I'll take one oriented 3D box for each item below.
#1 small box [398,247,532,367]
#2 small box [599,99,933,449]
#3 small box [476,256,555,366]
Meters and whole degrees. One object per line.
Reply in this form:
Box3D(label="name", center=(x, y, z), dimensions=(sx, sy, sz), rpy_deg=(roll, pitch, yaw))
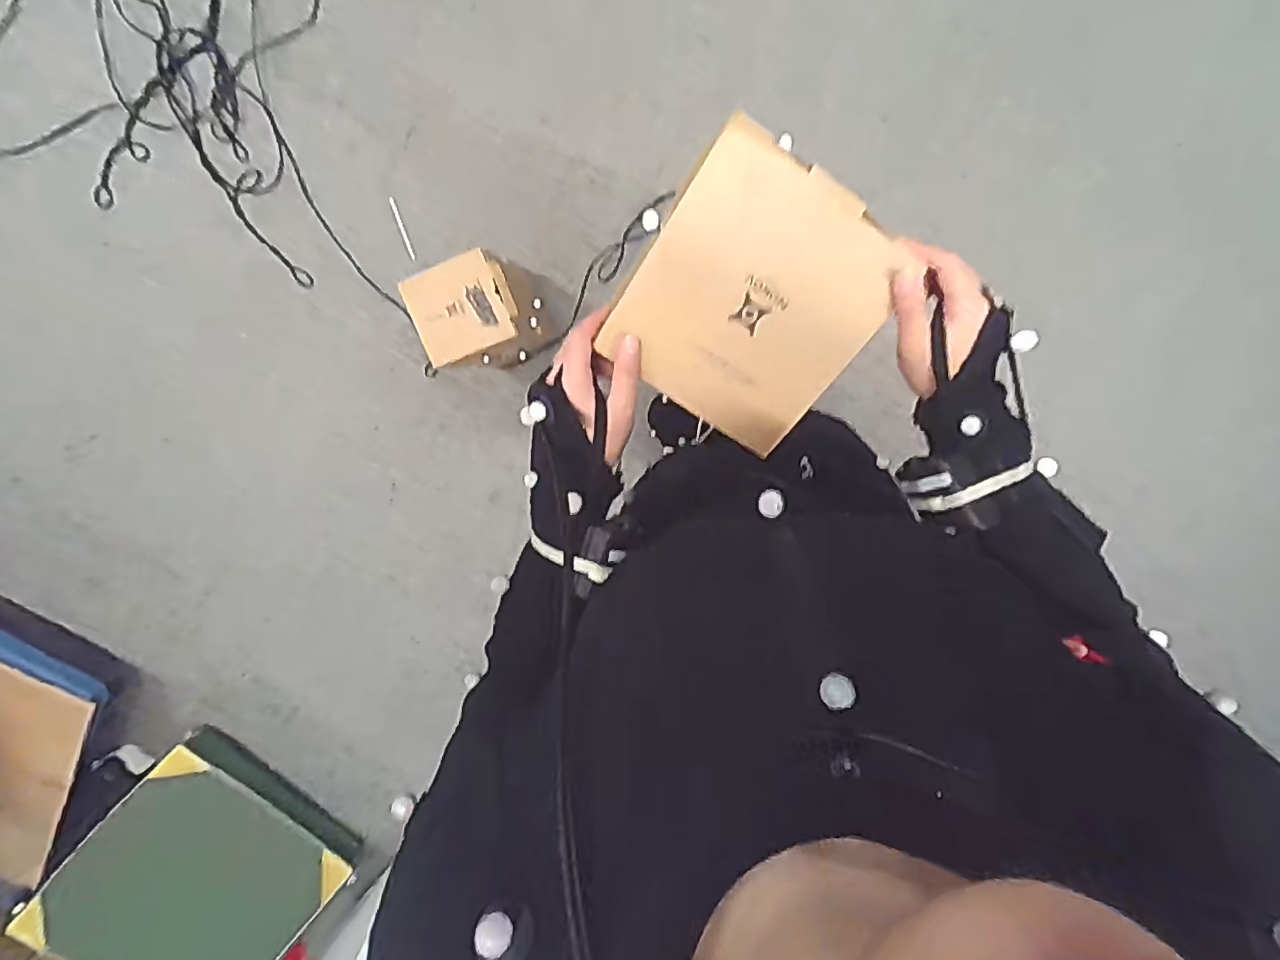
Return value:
Box3D(label="small box", center=(-0.326, -0.330, 1.055), dimensions=(0.179, 0.176, 0.168), rpy_deg=(-20, 100, 8))
Box3D(label="small box", center=(0.085, -0.164, 0.443), dimensions=(0.168, 0.176, 0.179), rpy_deg=(30, 117, -12))
Box3D(label="small box", center=(-0.309, -0.373, 1.214), dimensions=(0.168, 0.176, 0.179), rpy_deg=(-25, 100, 8))
